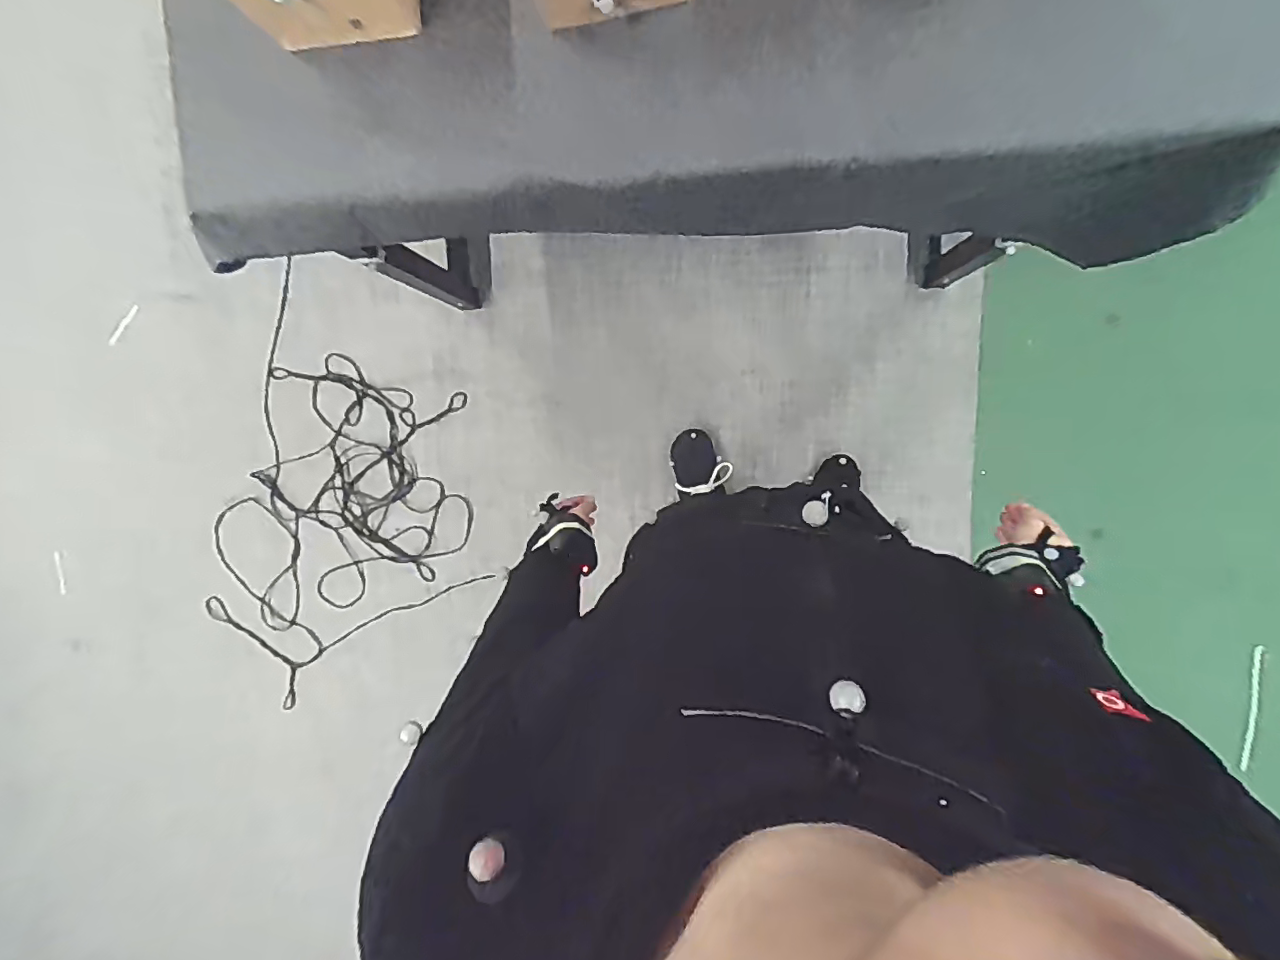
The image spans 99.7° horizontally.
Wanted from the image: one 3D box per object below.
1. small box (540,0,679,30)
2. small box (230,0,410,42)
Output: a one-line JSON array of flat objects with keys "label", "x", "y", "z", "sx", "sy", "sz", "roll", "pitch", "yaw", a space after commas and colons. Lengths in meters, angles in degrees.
[{"label": "small box", "x": -0.045, "y": -0.575, "z": 0.493, "sx": 0.168, "sy": 0.176, "sz": 0.179, "roll": -9, "pitch": 96, "yaw": 8}, {"label": "small box", "x": -0.343, "y": -0.568, "z": 0.522, "sx": 0.168, "sy": 0.176, "sz": 0.179, "roll": -3, "pitch": 95, "yaw": 6}]
